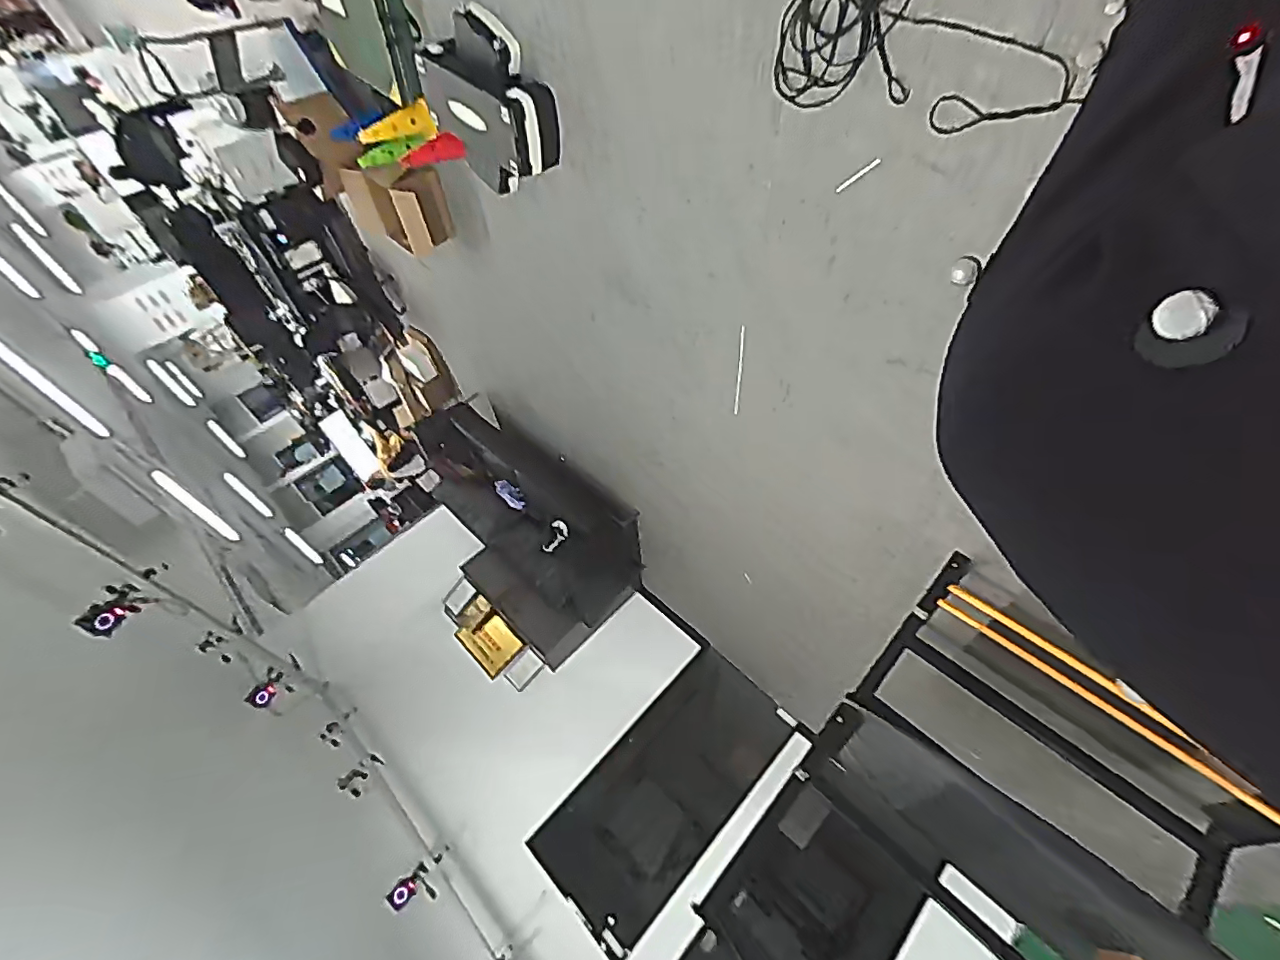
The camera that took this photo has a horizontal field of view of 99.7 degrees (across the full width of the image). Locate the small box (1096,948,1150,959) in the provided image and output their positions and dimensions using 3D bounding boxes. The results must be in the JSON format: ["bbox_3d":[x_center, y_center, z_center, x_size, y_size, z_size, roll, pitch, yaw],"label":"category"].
[{"bbox_3d":[1.288,1.353,1.388,0.168,0.176,0.179,36,153,28],"label":"small box"}]
